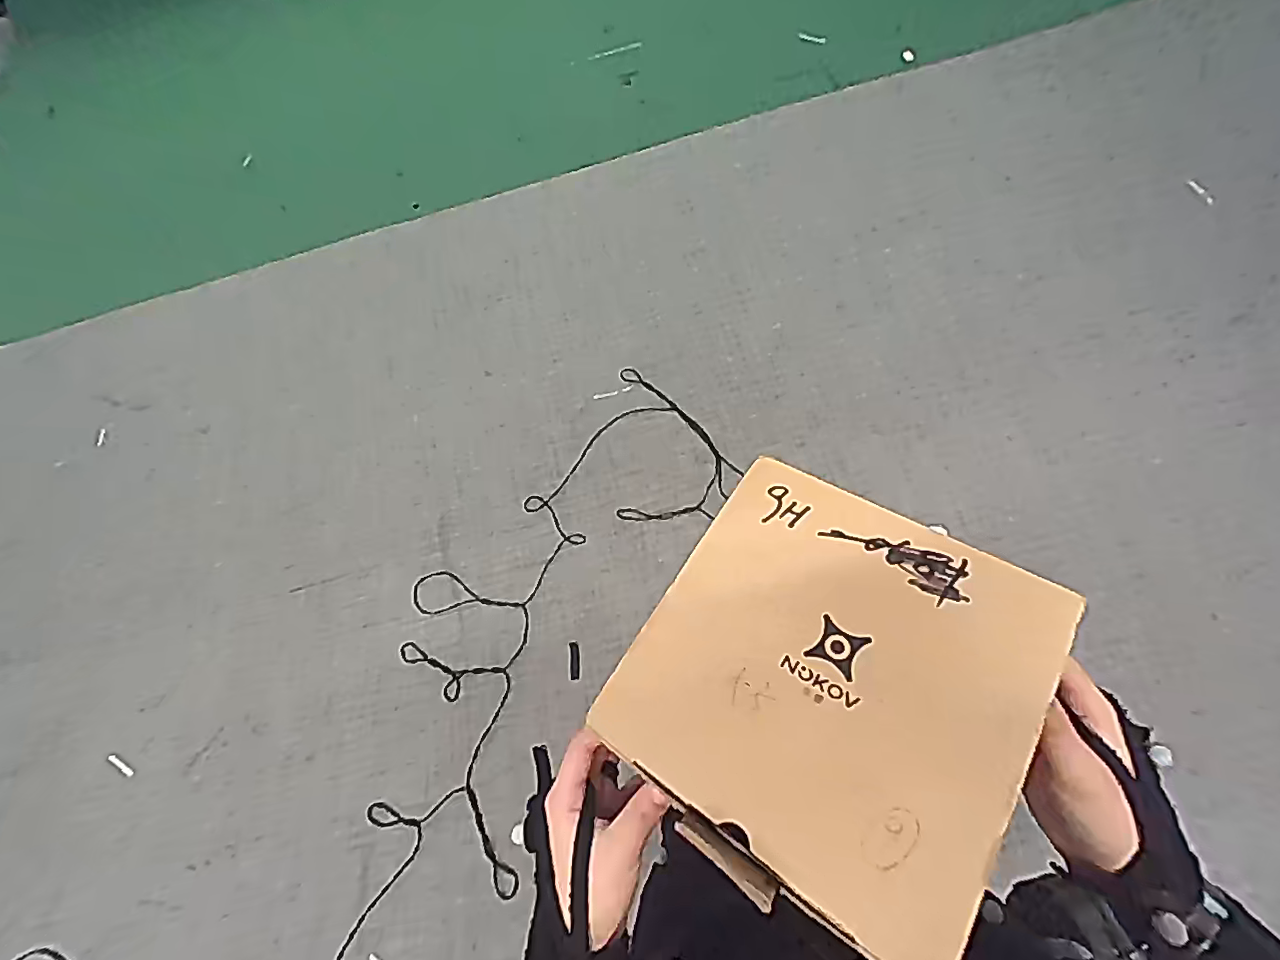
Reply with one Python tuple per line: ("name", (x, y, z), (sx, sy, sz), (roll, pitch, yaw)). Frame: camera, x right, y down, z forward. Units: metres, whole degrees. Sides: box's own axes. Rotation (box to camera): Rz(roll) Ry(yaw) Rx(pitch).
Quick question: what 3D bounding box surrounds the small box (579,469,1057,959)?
("small box", (0.097, 0.131, 0.325), (0.168, 0.176, 0.179), (27, 69, 25))
